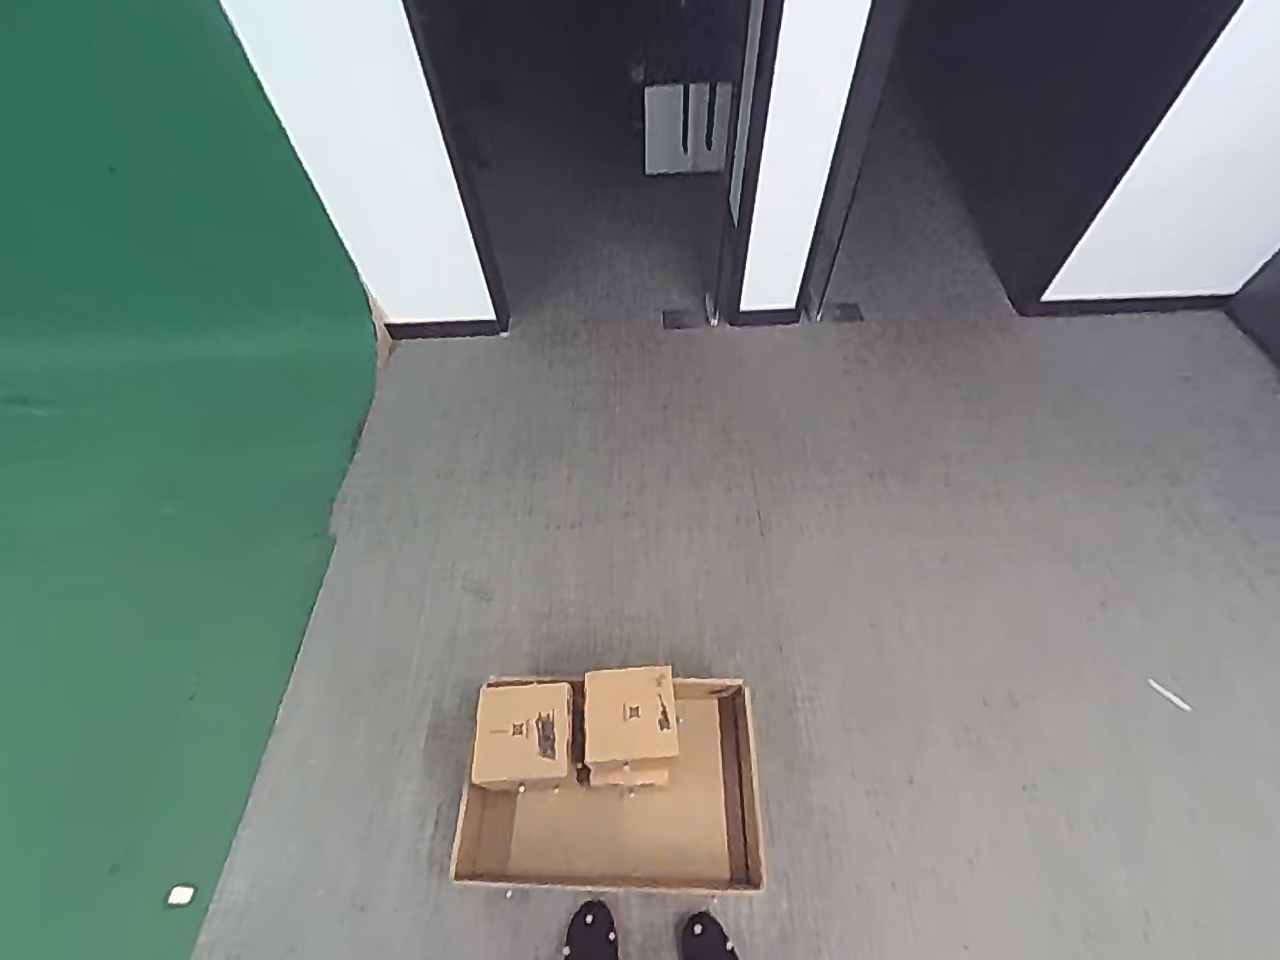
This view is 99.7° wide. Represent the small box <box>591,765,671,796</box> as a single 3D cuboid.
[{"bbox_3d":[-0.012,0.599,1.215,0.168,0.176,0.179,-1,56,4],"label":"small box"}]

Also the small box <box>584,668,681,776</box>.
[{"bbox_3d":[-0.012,0.491,1.090,0.179,0.176,0.168,-5,55,2],"label":"small box"}]

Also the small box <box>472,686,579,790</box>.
[{"bbox_3d":[-0.217,0.517,1.081,0.179,0.176,0.168,-3,56,0],"label":"small box"}]
